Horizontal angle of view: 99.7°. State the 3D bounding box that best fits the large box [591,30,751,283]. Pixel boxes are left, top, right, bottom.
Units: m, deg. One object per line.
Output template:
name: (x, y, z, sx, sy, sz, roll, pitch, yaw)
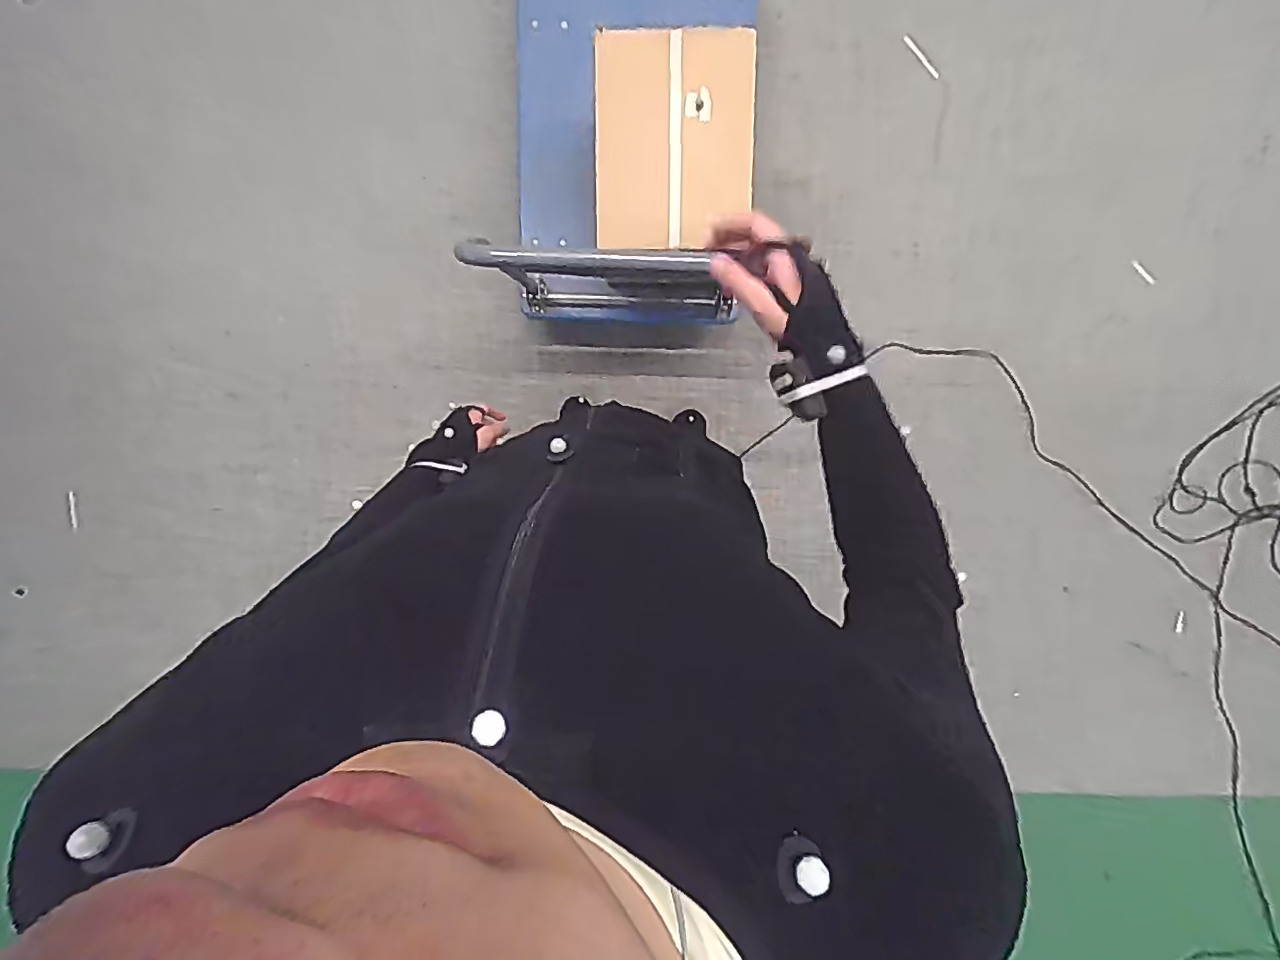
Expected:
large box: (0.062, -0.680, 1.206, 0.320, 0.320, 0.408, 0, 98, -1)
